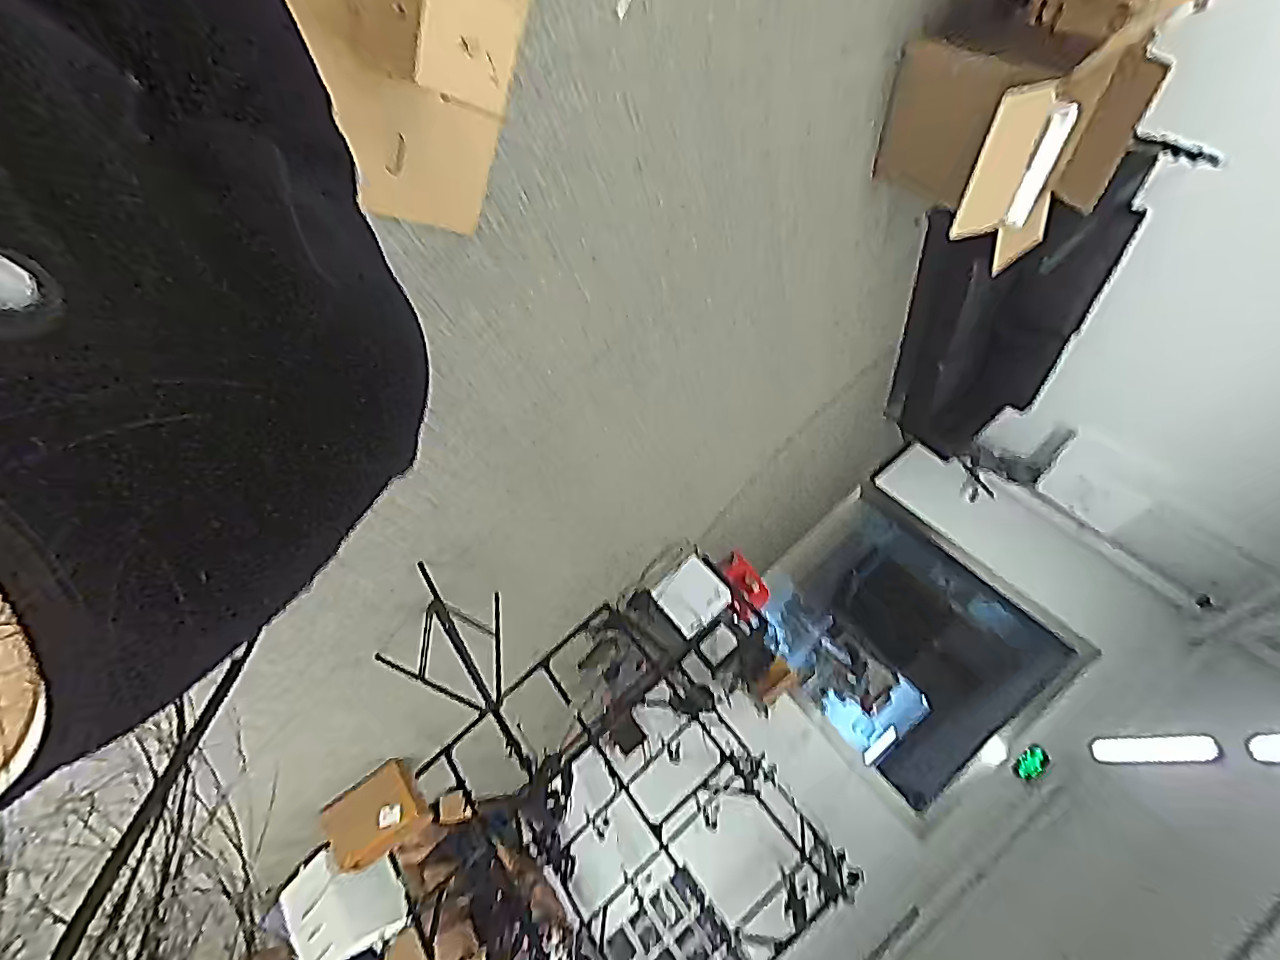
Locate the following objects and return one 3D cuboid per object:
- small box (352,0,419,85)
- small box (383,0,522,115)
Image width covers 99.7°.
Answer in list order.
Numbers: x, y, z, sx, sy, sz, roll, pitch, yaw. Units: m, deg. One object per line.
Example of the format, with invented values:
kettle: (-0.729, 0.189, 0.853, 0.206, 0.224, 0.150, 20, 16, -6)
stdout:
small box: (-0.451, -0.904, 1.082, 0.179, 0.176, 0.168, -12, 137, -42)
small box: (-0.349, -0.810, 0.992, 0.179, 0.176, 0.168, -12, 138, -44)
